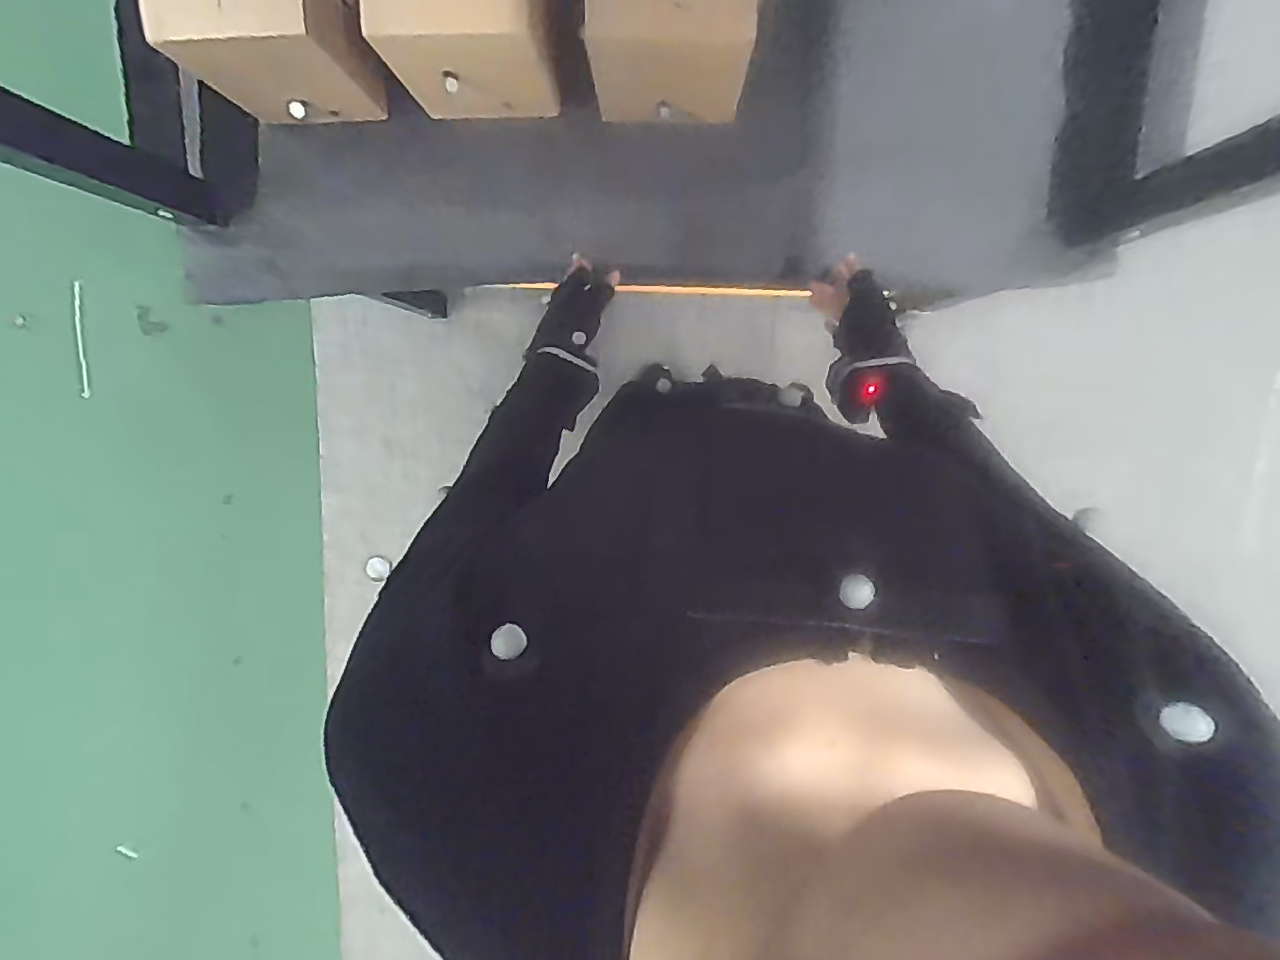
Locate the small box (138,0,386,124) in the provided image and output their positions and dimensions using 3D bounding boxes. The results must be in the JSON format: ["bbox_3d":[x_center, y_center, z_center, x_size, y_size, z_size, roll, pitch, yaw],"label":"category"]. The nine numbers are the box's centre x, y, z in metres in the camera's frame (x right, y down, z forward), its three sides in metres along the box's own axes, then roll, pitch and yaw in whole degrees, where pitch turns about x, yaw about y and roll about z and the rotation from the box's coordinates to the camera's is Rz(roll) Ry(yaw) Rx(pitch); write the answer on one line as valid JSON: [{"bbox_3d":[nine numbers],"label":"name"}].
[{"bbox_3d":[-0.405,-0.531,0.599,0.168,0.176,0.179,0,99,3],"label":"small box"}]
